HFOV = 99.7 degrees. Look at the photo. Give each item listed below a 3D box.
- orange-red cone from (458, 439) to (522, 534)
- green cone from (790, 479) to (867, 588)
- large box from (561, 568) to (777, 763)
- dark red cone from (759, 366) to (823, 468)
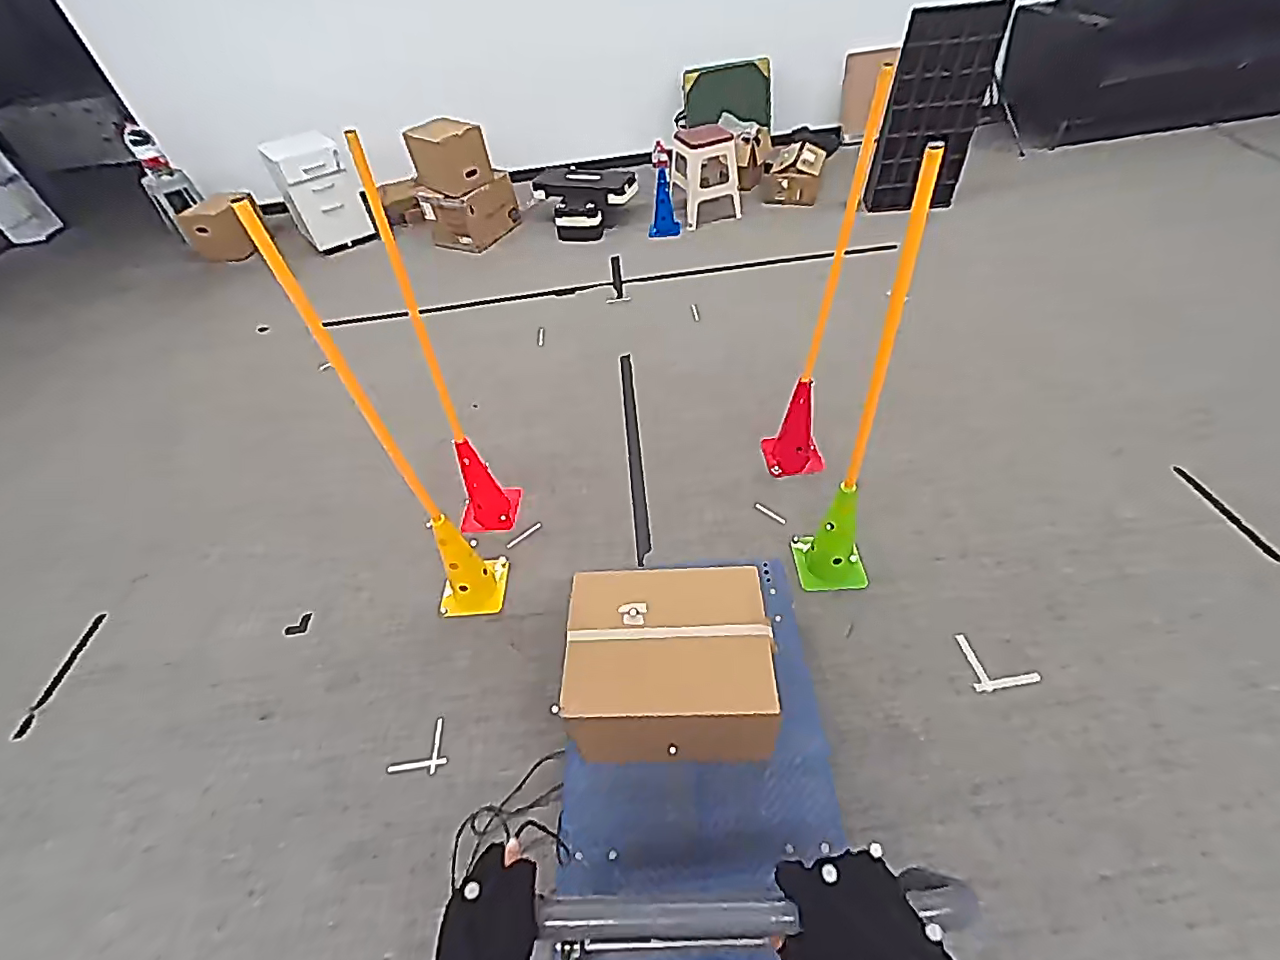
[{"bbox_3d":[-0.558,0.001,1.869,0.198,0.360,0.199,-1,46,5],"label":"orange-red cone"},{"bbox_3d":[0.578,0.137,1.584,0.202,0.368,0.200,-4,47,2],"label":"green cone"},{"bbox_3d":[0.069,0.418,1.194,0.408,0.320,0.320,-4,47,5],"label":"large box"},{"bbox_3d":[0.552,-0.228,1.904,0.201,0.394,0.202,-6,47,-1],"label":"dark red cone"}]
